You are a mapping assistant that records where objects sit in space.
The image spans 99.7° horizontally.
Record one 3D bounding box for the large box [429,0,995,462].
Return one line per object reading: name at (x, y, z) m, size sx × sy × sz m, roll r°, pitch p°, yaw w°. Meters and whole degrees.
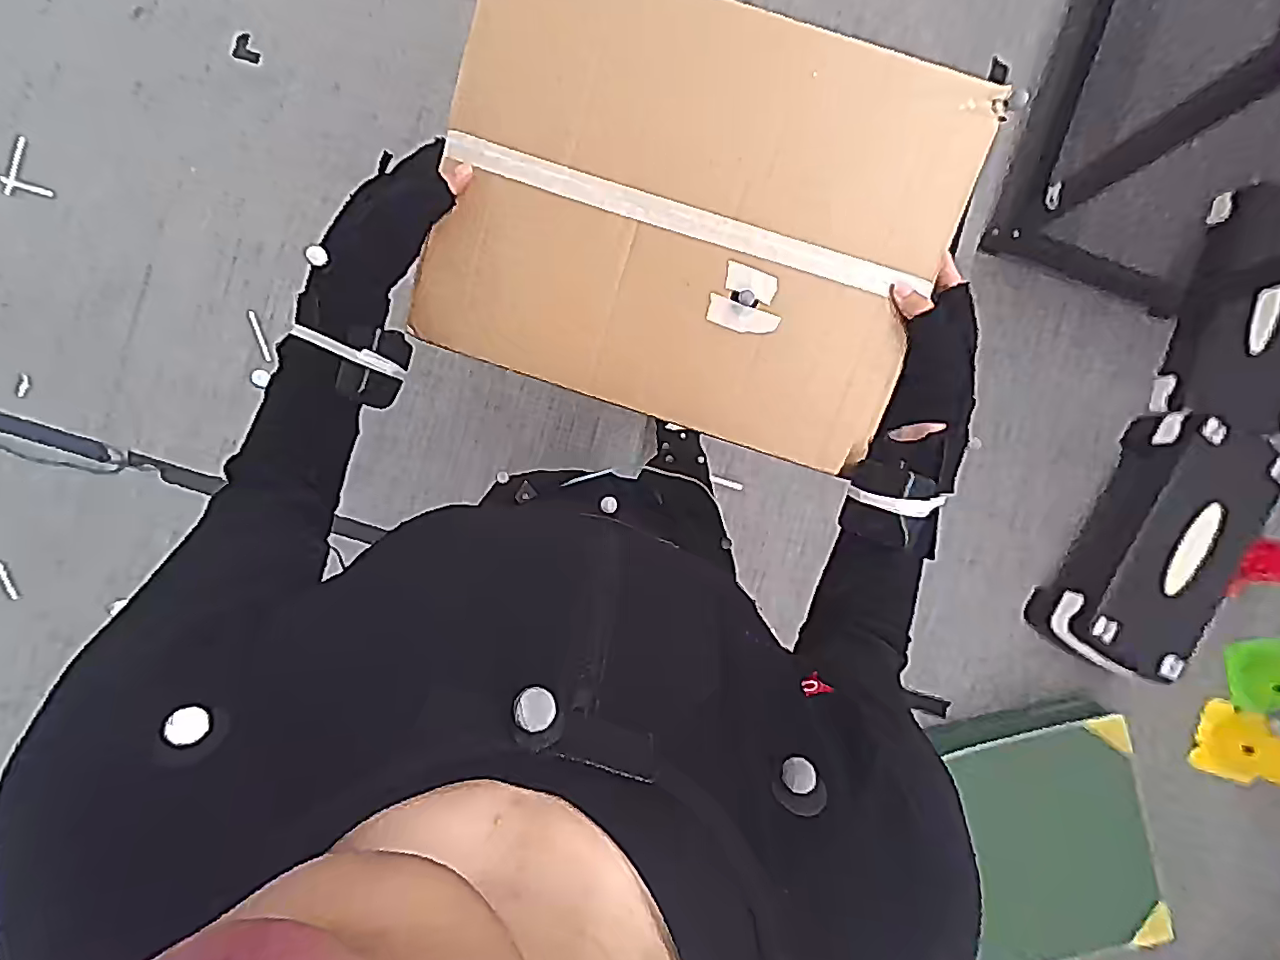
large box at (0.052, -0.240, 0.594) m, size 0.408 × 0.320 × 0.320 m, roll 18°, pitch 101°, yaw 0°
